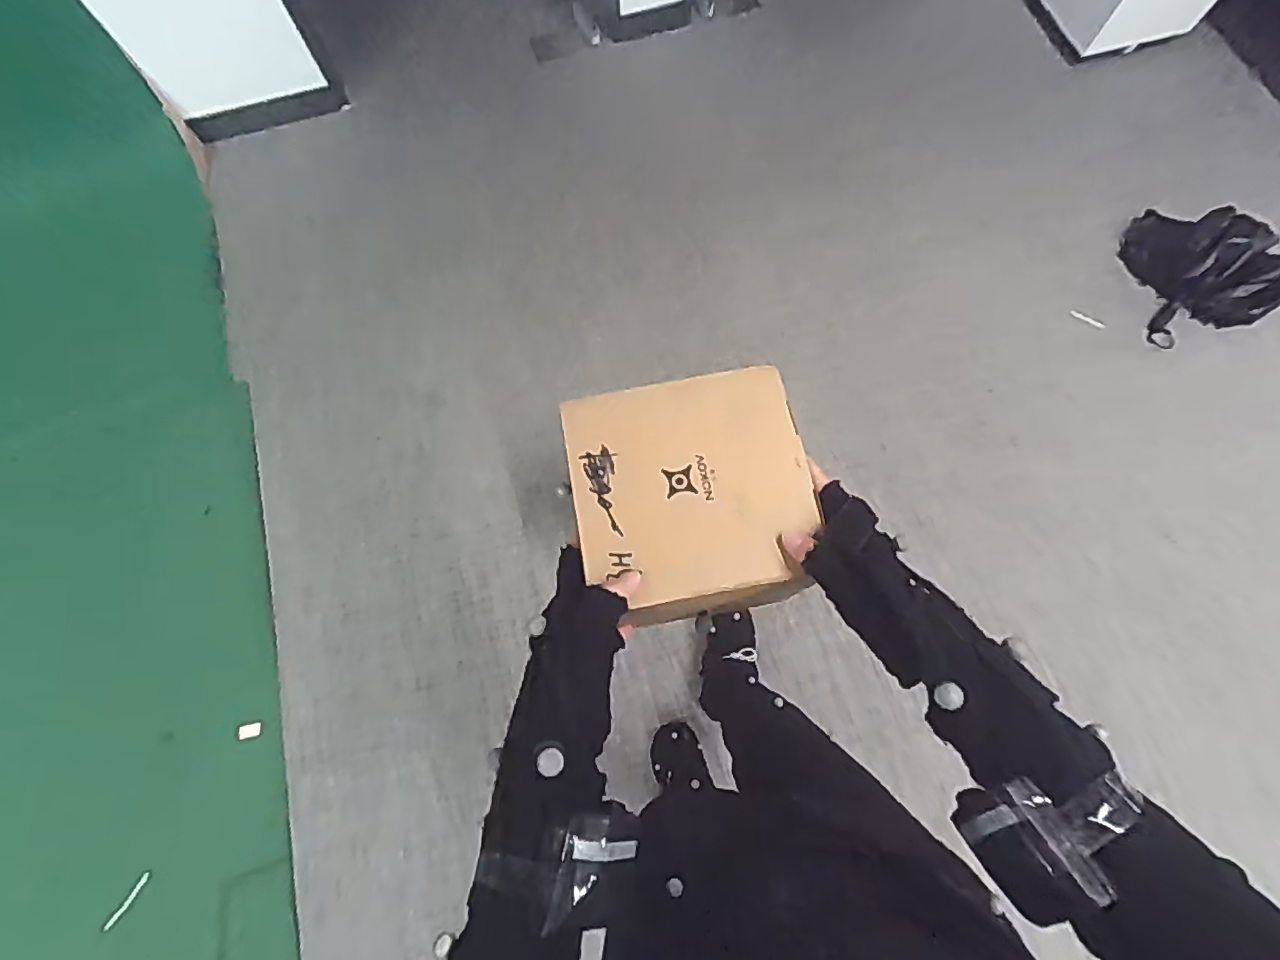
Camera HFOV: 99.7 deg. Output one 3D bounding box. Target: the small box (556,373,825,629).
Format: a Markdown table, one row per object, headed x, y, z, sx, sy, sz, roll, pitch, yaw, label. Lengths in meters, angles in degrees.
| x | y | z | sx | sy | sz | roll | pitch | yaw | label |
| --- | --- | --- | --- | --- | --- | --- | --- | --- | --- |
| 0.033 | 0.030 | 0.472 | 0.179 | 0.176 | 0.168 | -10 | 71 | -2 | small box |
